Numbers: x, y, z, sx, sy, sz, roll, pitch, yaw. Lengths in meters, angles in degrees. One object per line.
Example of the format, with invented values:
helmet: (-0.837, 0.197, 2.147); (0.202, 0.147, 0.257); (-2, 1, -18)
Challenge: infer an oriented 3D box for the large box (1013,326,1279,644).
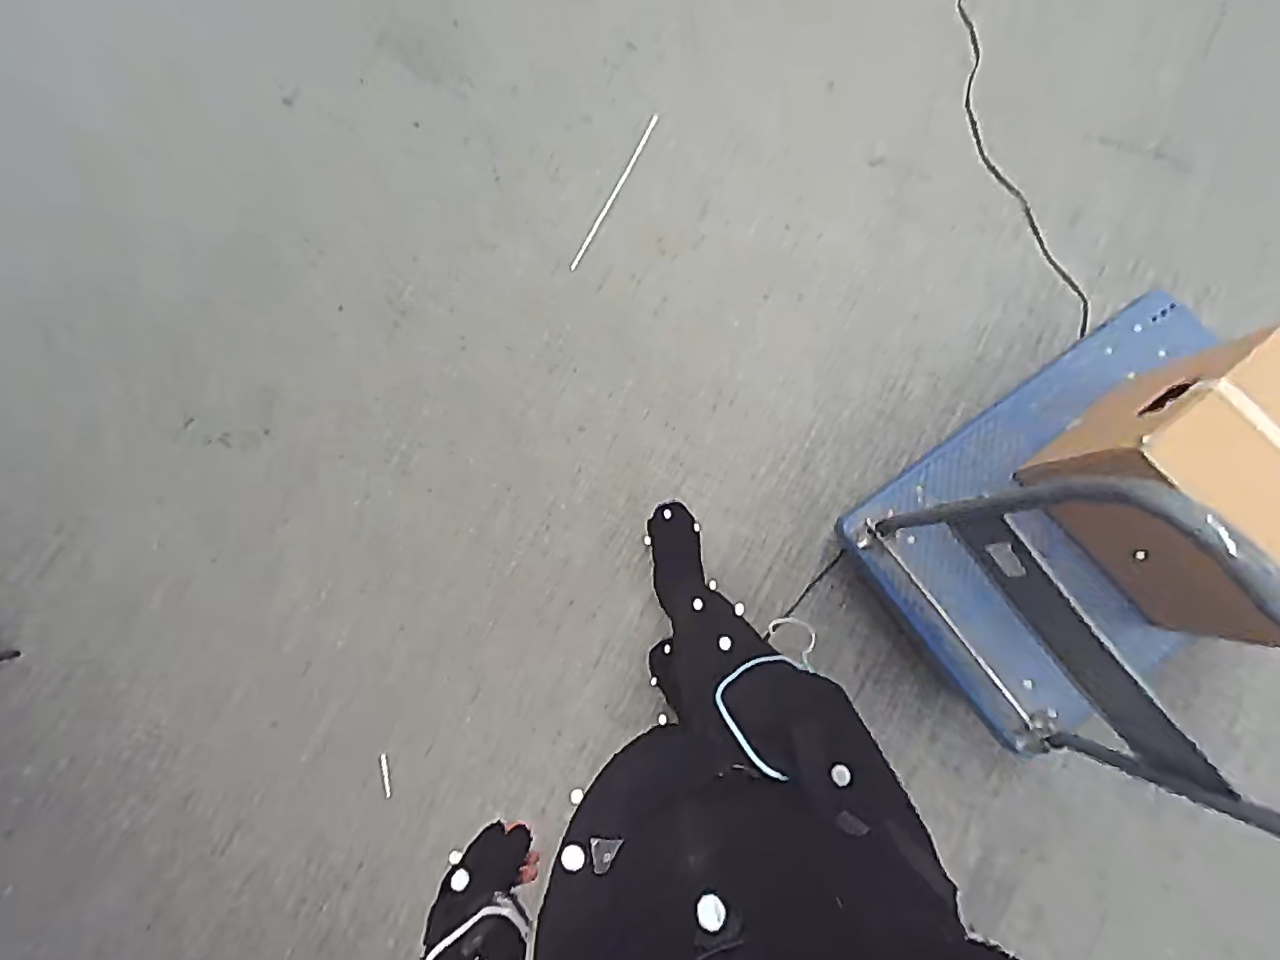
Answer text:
large box: (0.995, 0.024, 0.945); (0.320, 0.320, 0.408); (-40, 82, -3)
